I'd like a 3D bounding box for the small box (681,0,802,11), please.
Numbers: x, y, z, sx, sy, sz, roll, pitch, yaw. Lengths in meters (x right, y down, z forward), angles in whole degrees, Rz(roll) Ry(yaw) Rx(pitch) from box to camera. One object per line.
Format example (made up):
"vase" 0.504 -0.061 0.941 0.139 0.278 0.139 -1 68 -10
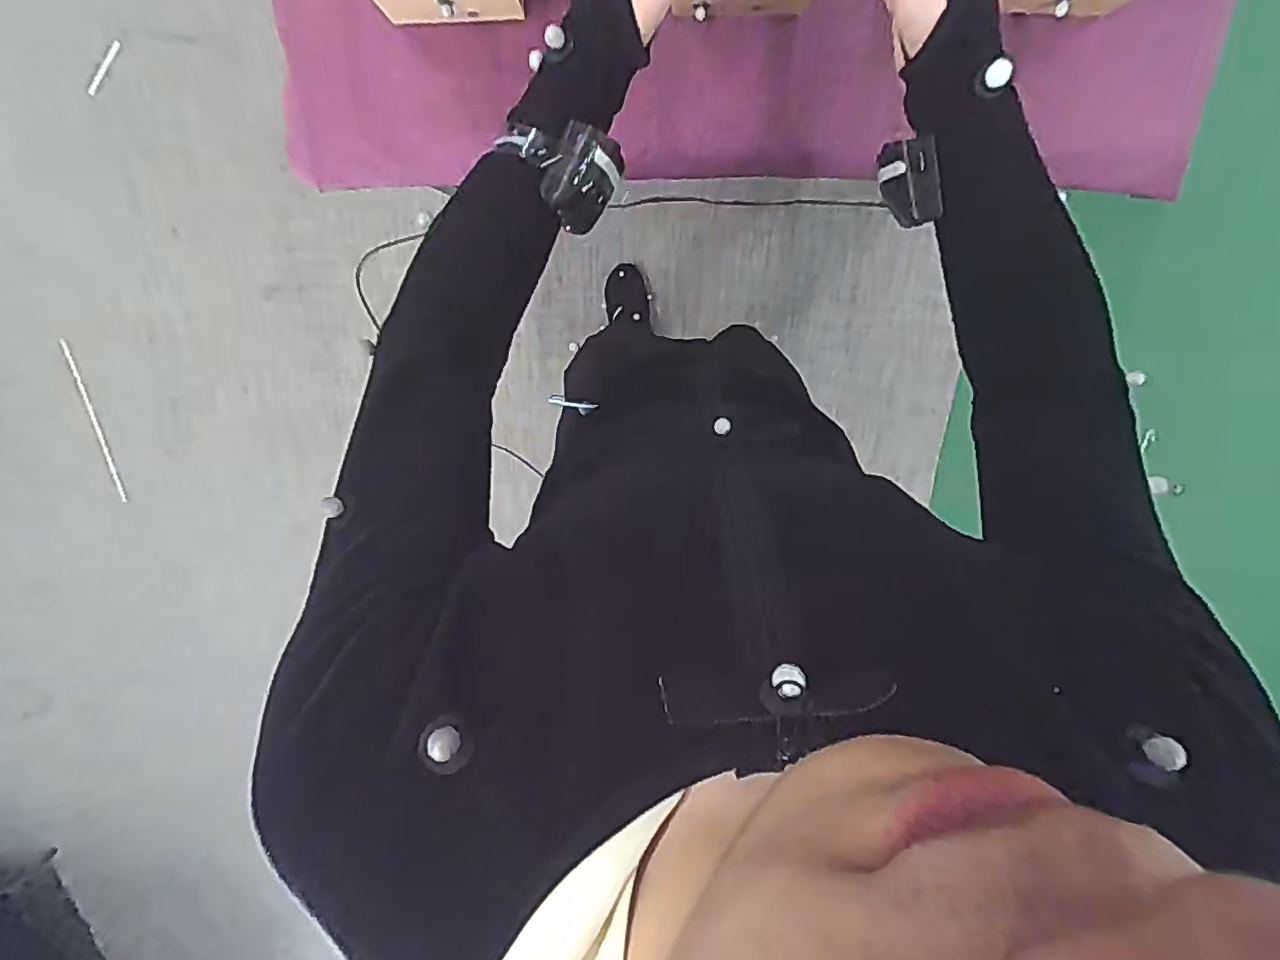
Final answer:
"small box" 0.121 -0.636 0.574 0.168 0.176 0.179 -2 111 -1

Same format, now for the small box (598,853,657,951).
"small box" -0.038 1.268 1.629 0.168 0.176 0.179 3 110 -2

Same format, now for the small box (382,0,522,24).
"small box" -0.225 -0.621 0.565 0.168 0.176 0.179 -3 111 -1

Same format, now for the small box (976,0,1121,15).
"small box" 0.512 -0.641 0.585 0.179 0.176 0.168 0 111 -2
